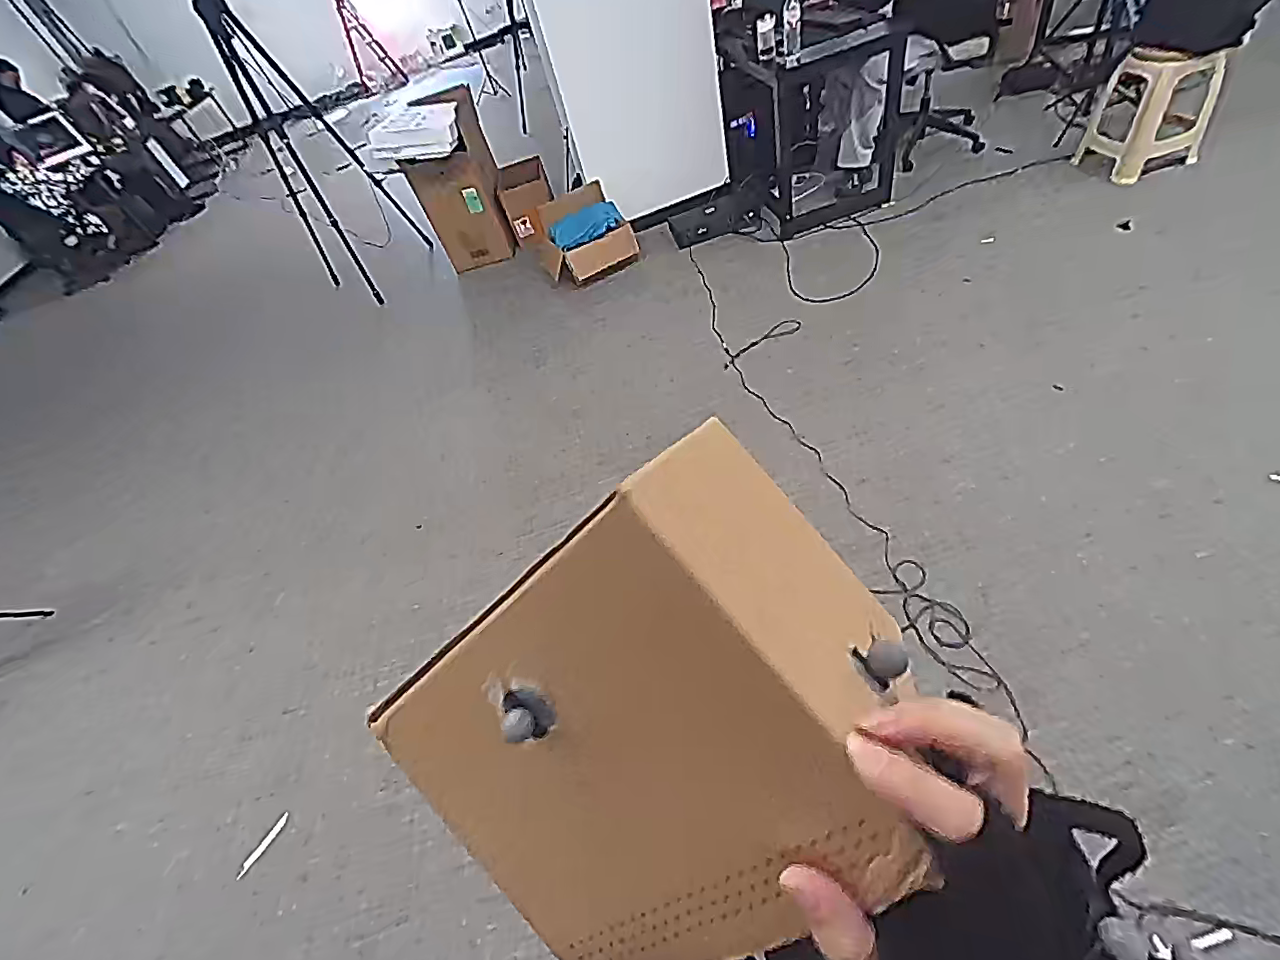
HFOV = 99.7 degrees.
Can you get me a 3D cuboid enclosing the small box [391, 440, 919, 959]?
[{"bbox_3d":[0.014,0.109,0.296,0.179,0.176,0.168,-43,-2,25],"label":"small box"}]
